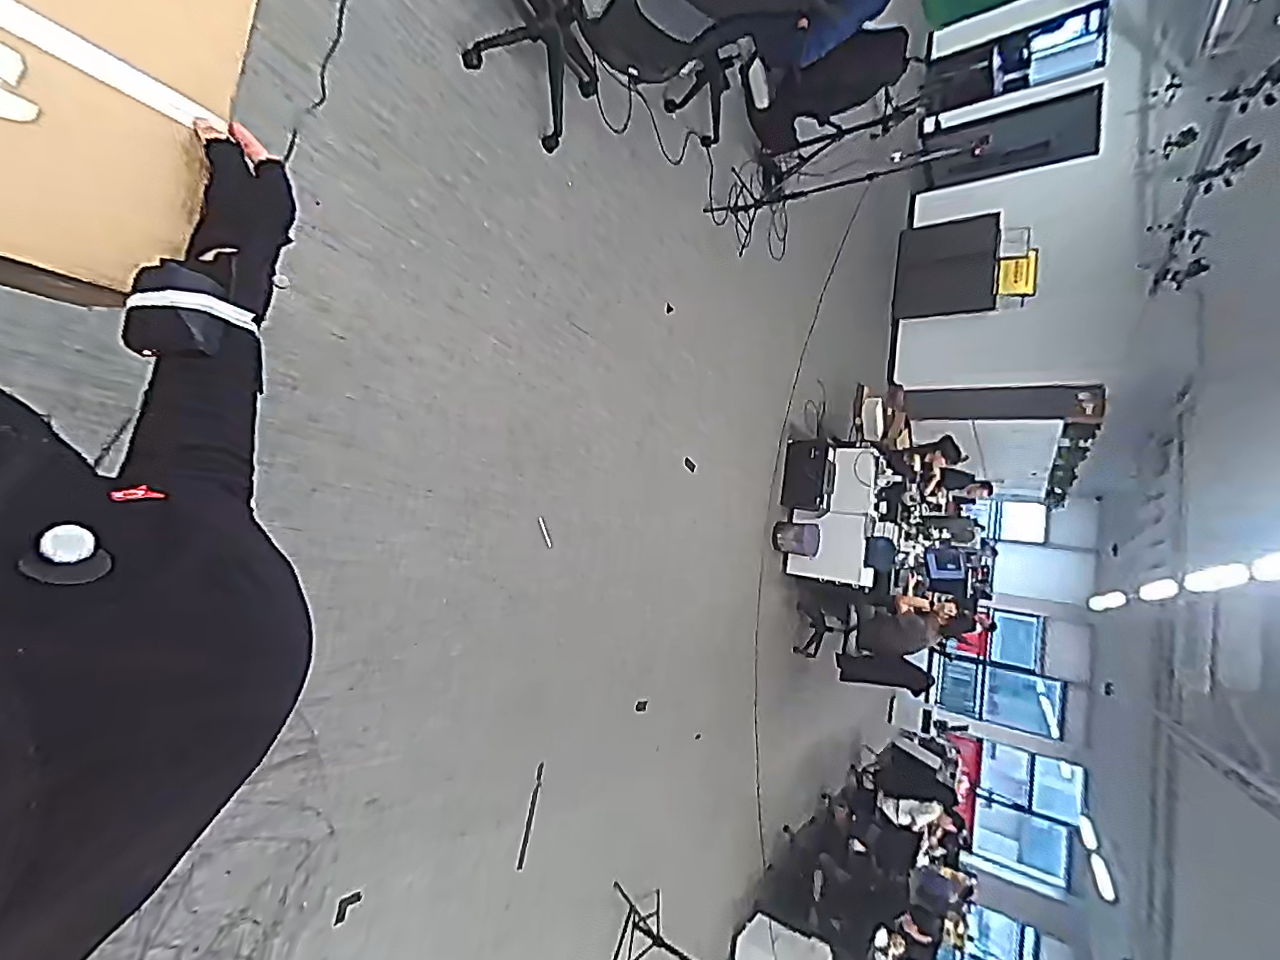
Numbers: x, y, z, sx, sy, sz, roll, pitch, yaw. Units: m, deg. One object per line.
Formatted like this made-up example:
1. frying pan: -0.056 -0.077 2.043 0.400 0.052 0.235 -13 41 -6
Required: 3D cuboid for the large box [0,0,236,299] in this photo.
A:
1. large box: -0.604 -0.351 0.380 0.408 0.320 0.320 11 92 -59
